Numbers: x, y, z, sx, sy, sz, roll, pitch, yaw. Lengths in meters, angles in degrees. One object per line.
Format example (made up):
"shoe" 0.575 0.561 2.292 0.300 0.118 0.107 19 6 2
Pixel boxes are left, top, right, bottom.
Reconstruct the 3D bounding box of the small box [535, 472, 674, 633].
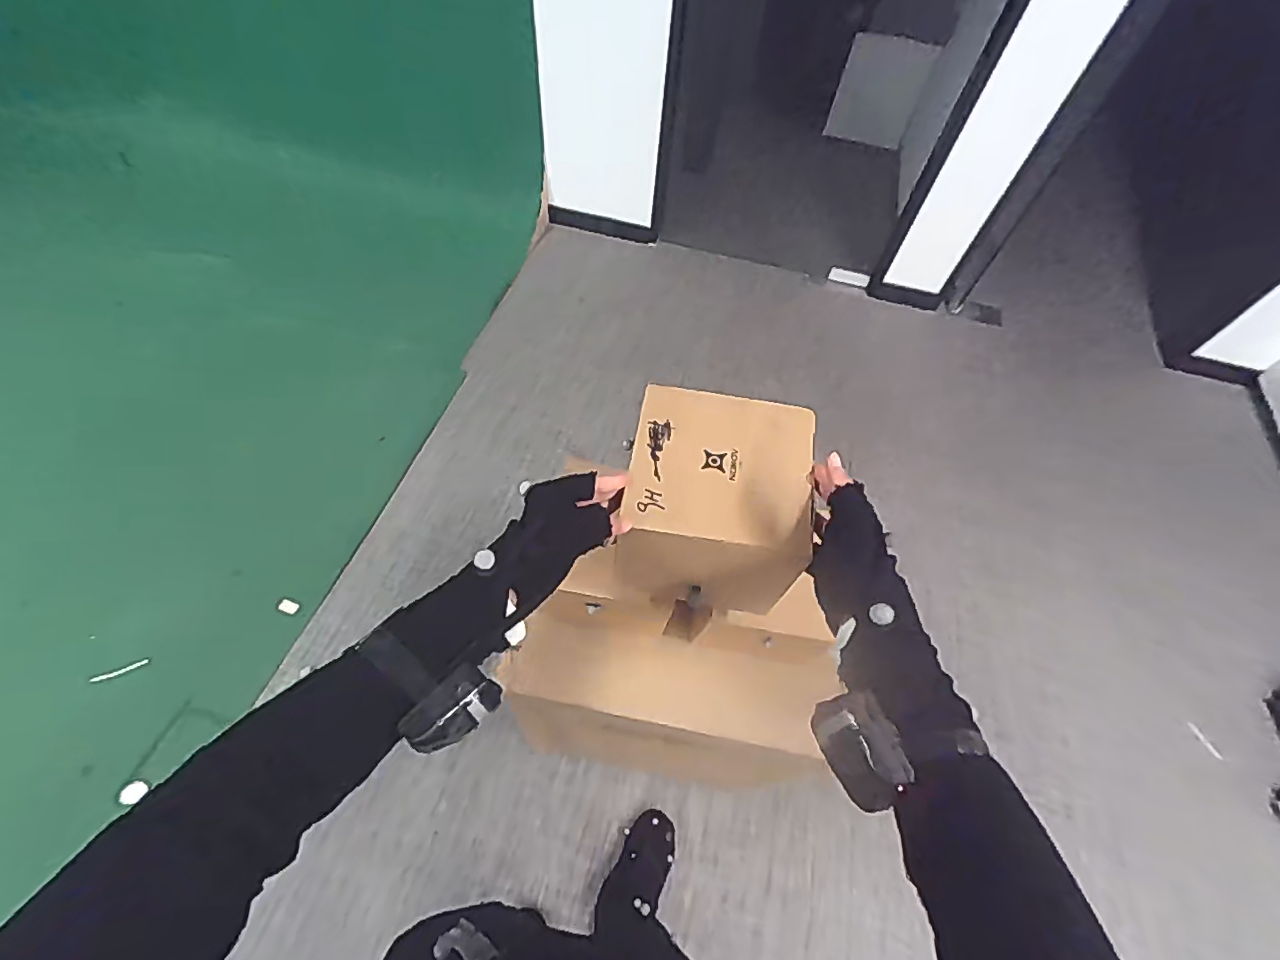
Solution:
"small box" -0.037 0.110 0.769 0.179 0.176 0.168 10 63 1

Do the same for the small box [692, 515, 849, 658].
"small box" 0.174 0.148 0.764 0.179 0.176 0.168 9 64 -1

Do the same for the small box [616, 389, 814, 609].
"small box" 0.075 0.029 0.587 0.179 0.176 0.168 10 59 2
